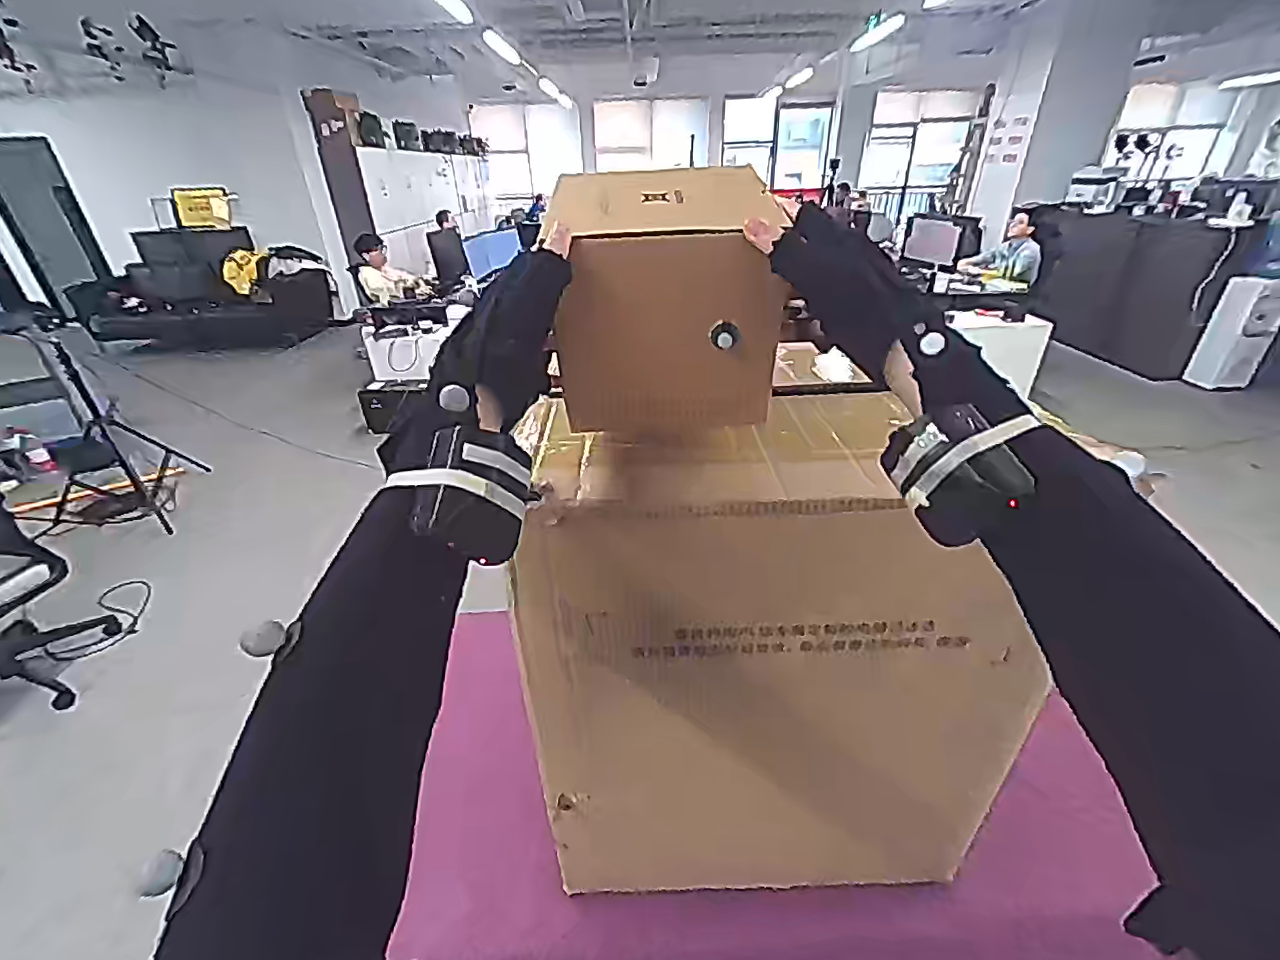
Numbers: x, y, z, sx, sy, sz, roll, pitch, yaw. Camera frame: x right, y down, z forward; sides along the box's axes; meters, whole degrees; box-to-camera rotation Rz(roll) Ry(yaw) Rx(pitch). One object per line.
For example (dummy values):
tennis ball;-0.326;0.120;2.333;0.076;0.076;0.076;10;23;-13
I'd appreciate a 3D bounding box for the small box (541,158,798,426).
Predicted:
small box;0.022;-0.163;0.473;0.179;0.176;0.168;-4;42;1
